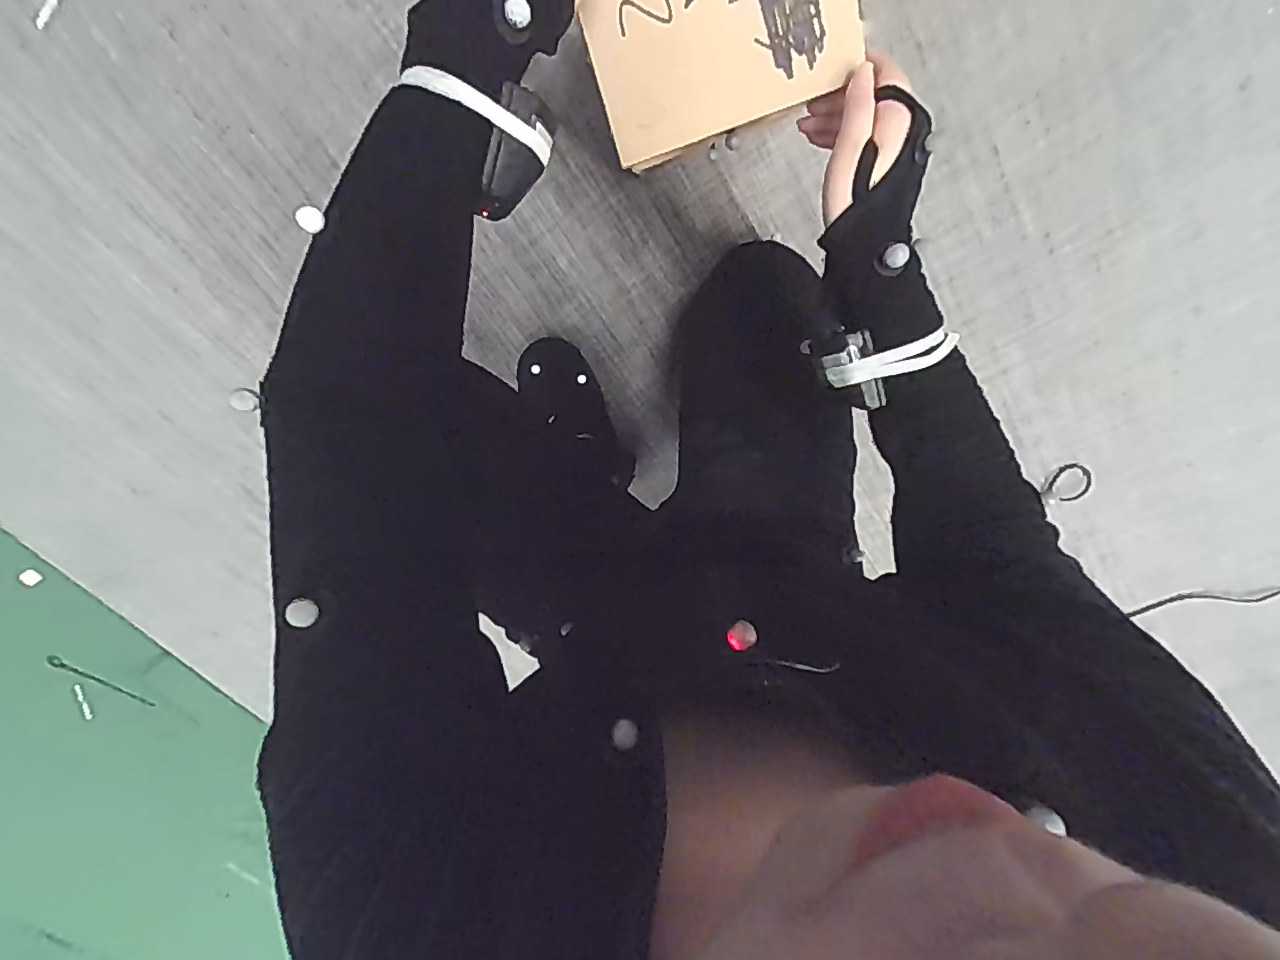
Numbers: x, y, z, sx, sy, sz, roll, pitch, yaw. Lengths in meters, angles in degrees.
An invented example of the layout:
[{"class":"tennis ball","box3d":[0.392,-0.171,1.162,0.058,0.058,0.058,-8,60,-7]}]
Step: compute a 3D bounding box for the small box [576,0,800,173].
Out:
[{"class":"small box","box3d":[0.050,-0.433,0.557,0.179,0.176,0.168,-15,116,11]}]
